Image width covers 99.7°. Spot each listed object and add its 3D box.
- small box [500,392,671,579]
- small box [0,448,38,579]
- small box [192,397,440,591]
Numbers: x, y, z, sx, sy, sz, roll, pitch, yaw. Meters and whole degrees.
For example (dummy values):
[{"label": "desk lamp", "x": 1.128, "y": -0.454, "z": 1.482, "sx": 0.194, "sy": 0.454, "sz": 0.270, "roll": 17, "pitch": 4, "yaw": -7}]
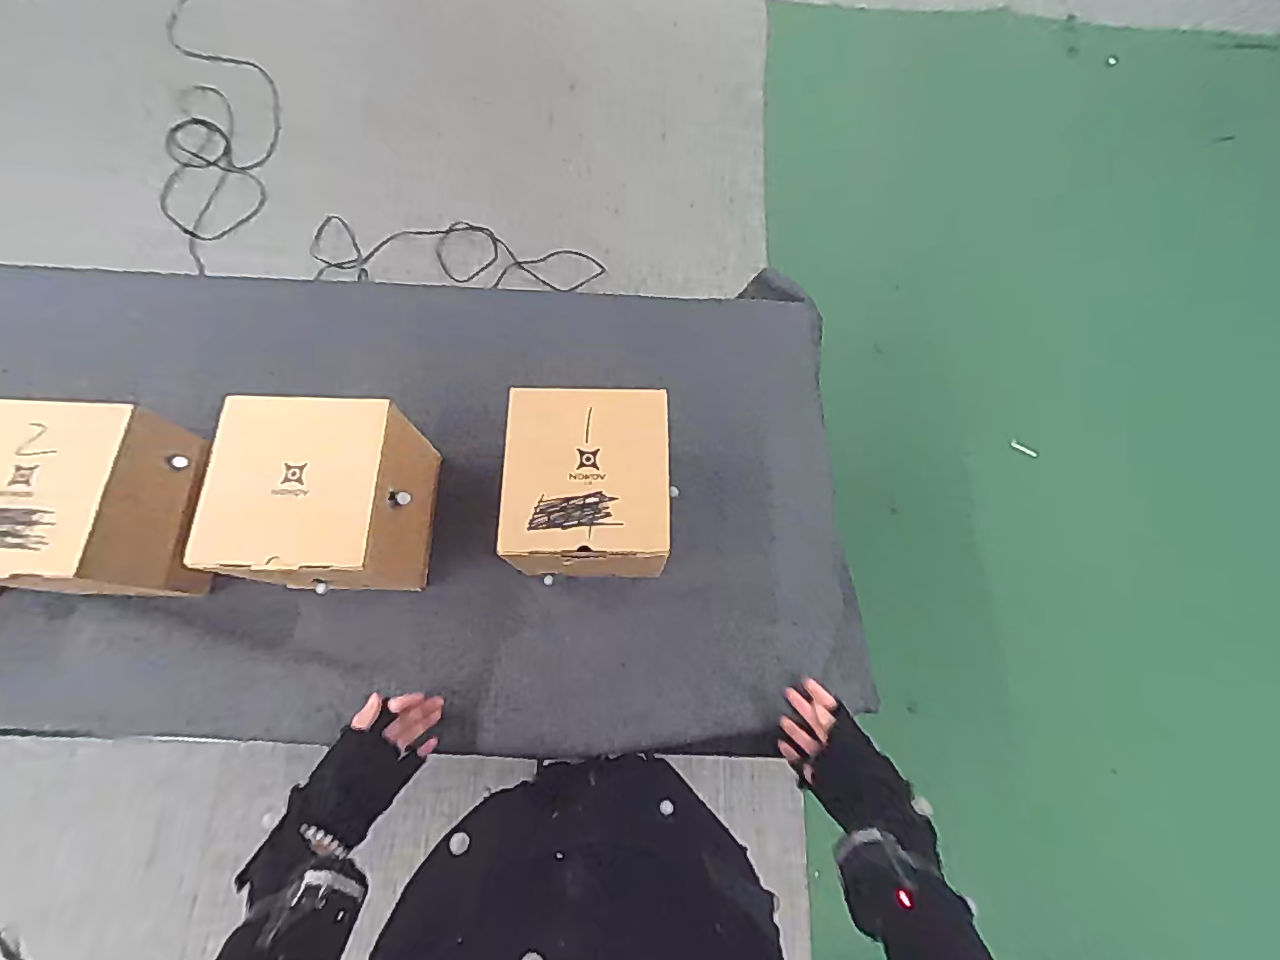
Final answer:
[{"label": "small box", "x": -0.053, "y": 0.016, "z": 0.614, "sx": 0.168, "sy": 0.176, "sz": 0.179, "roll": 1, "pitch": 72, "yaw": -2}, {"label": "small box", "x": -0.822, "y": 0.029, "z": 0.573, "sx": 0.168, "sy": 0.176, "sz": 0.179, "roll": 1, "pitch": 71, "yaw": -3}, {"label": "small box", "x": -0.335, "y": 0.025, "z": 0.602, "sx": 0.168, "sy": 0.176, "sz": 0.179, "roll": 1, "pitch": 73, "yaw": -2}]
